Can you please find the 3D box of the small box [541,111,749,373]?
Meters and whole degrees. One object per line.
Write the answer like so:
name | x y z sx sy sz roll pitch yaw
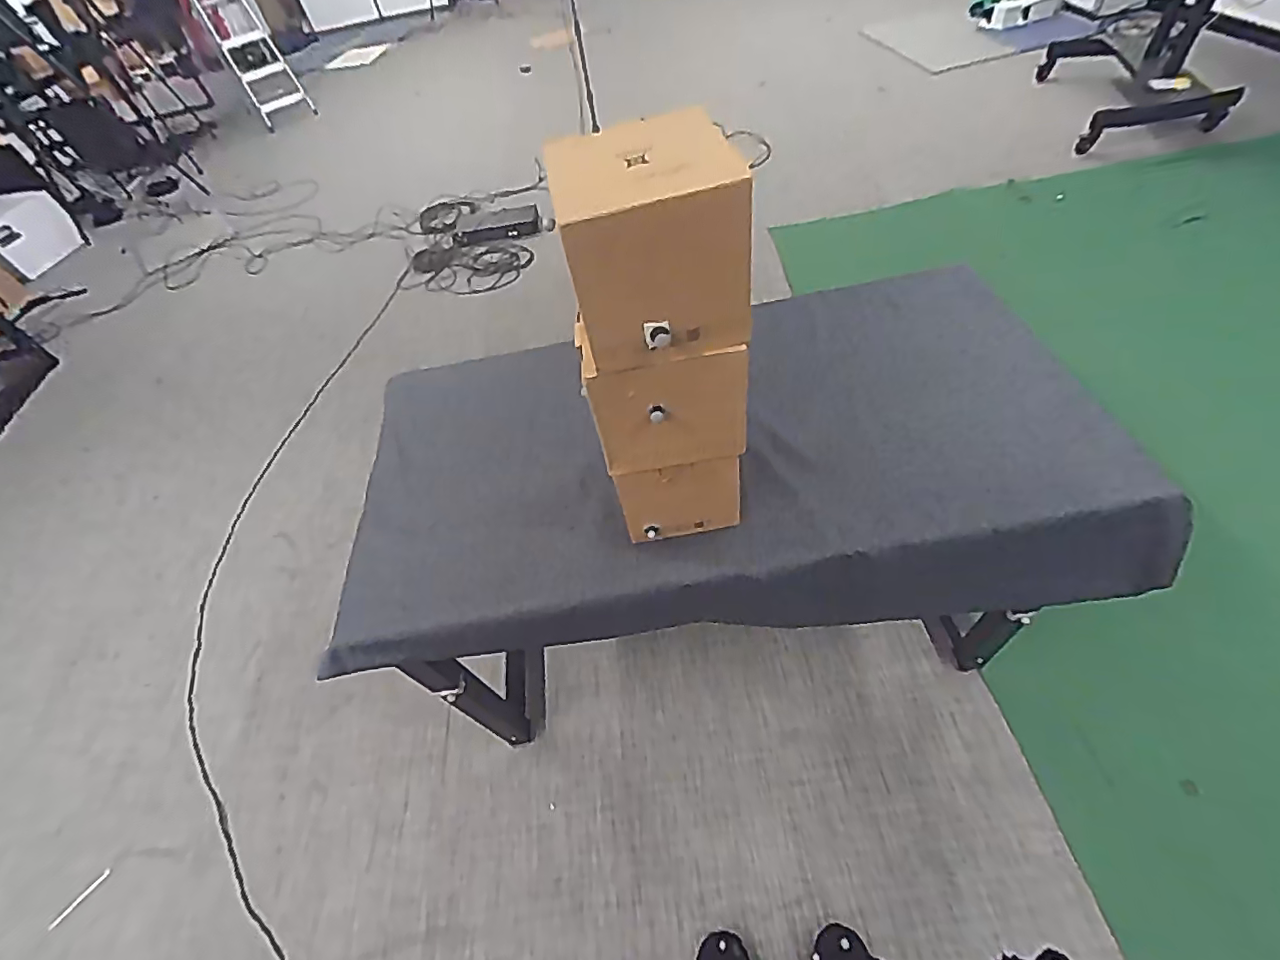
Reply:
small box | 0.006 -0.240 0.557 0.168 0.176 0.179 -15 52 0

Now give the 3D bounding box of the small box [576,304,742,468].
small box | 0.026 -0.135 0.682 0.179 0.176 0.168 -11 49 0

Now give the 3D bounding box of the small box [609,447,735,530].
small box | 0.046 -0.040 0.811 0.168 0.176 0.179 -11 50 2
